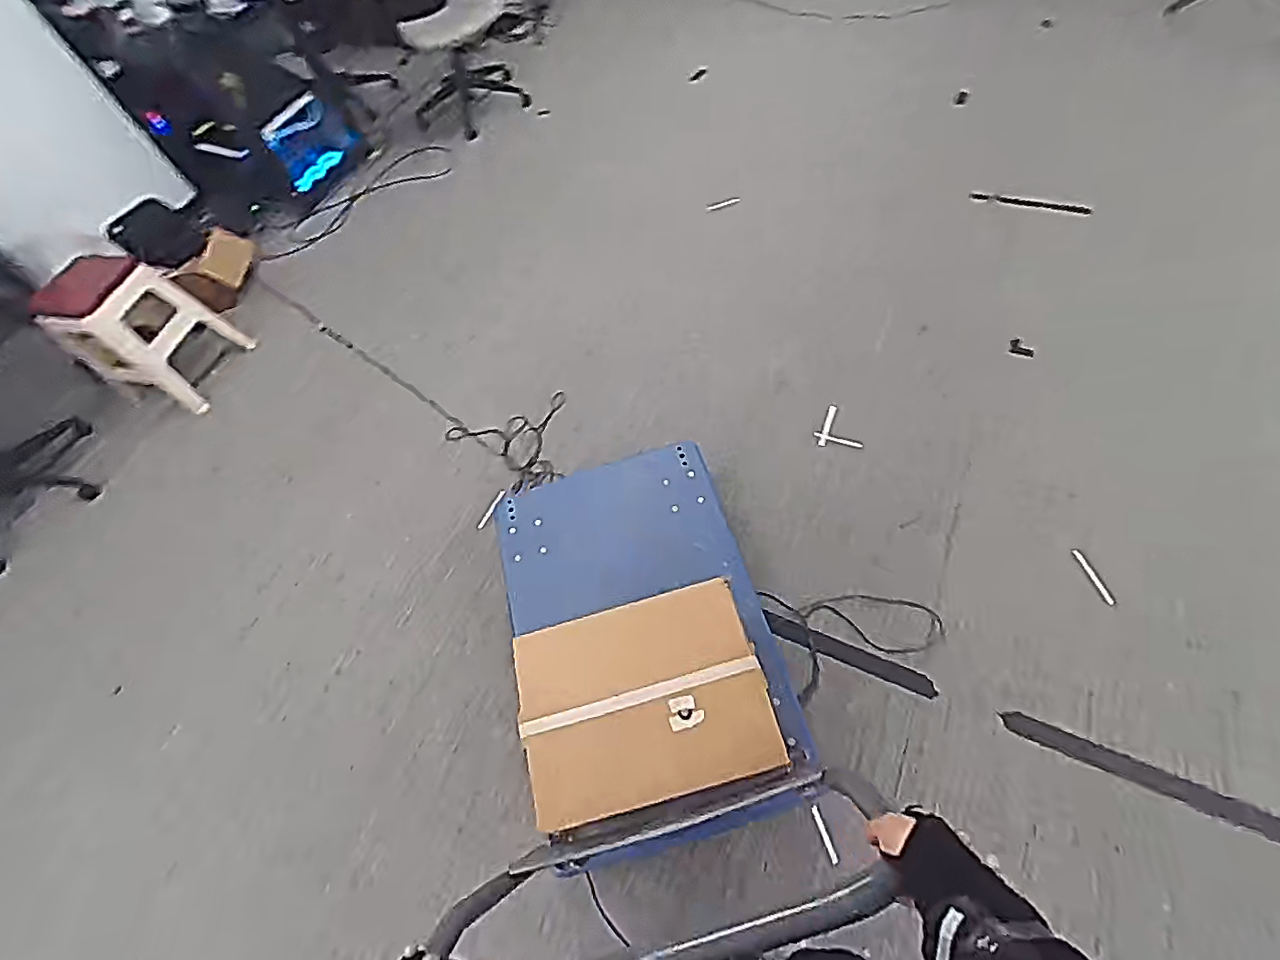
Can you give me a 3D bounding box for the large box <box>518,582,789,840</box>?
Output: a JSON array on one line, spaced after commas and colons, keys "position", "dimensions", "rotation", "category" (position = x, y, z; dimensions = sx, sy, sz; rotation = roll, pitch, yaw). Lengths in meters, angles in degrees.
[{"position": [0.024, 0.440, 1.035], "dimensions": [0.408, 0.320, 0.320], "rotation": [-17, 62, -1], "category": "large box"}]
